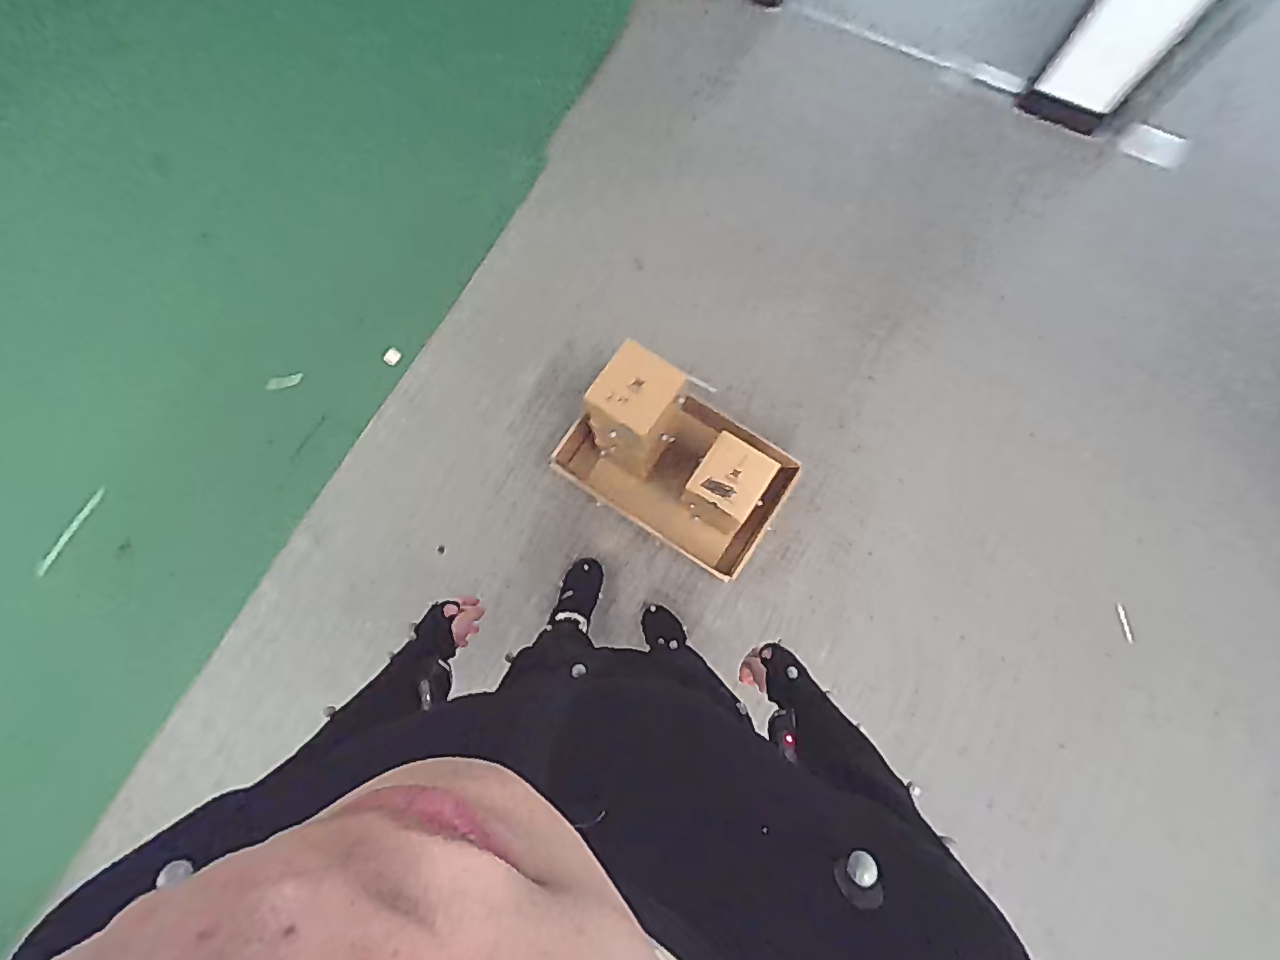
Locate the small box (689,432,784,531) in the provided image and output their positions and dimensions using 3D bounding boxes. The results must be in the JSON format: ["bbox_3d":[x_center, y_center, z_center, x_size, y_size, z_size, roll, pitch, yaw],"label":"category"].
[{"bbox_3d":[0.239,0.012,1.376,0.168,0.176,0.179,34,81,10],"label":"small box"}]

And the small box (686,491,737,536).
[{"bbox_3d":[0.241,0.041,1.538,0.168,0.176,0.179,34,83,10],"label":"small box"}]

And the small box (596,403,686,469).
[{"bbox_3d":[0.002,-0.153,1.424,0.168,0.176,0.179,35,82,7],"label":"small box"}]

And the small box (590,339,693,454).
[{"bbox_3d":[0.003,-0.187,1.262,0.168,0.176,0.179,35,82,8],"label":"small box"}]
